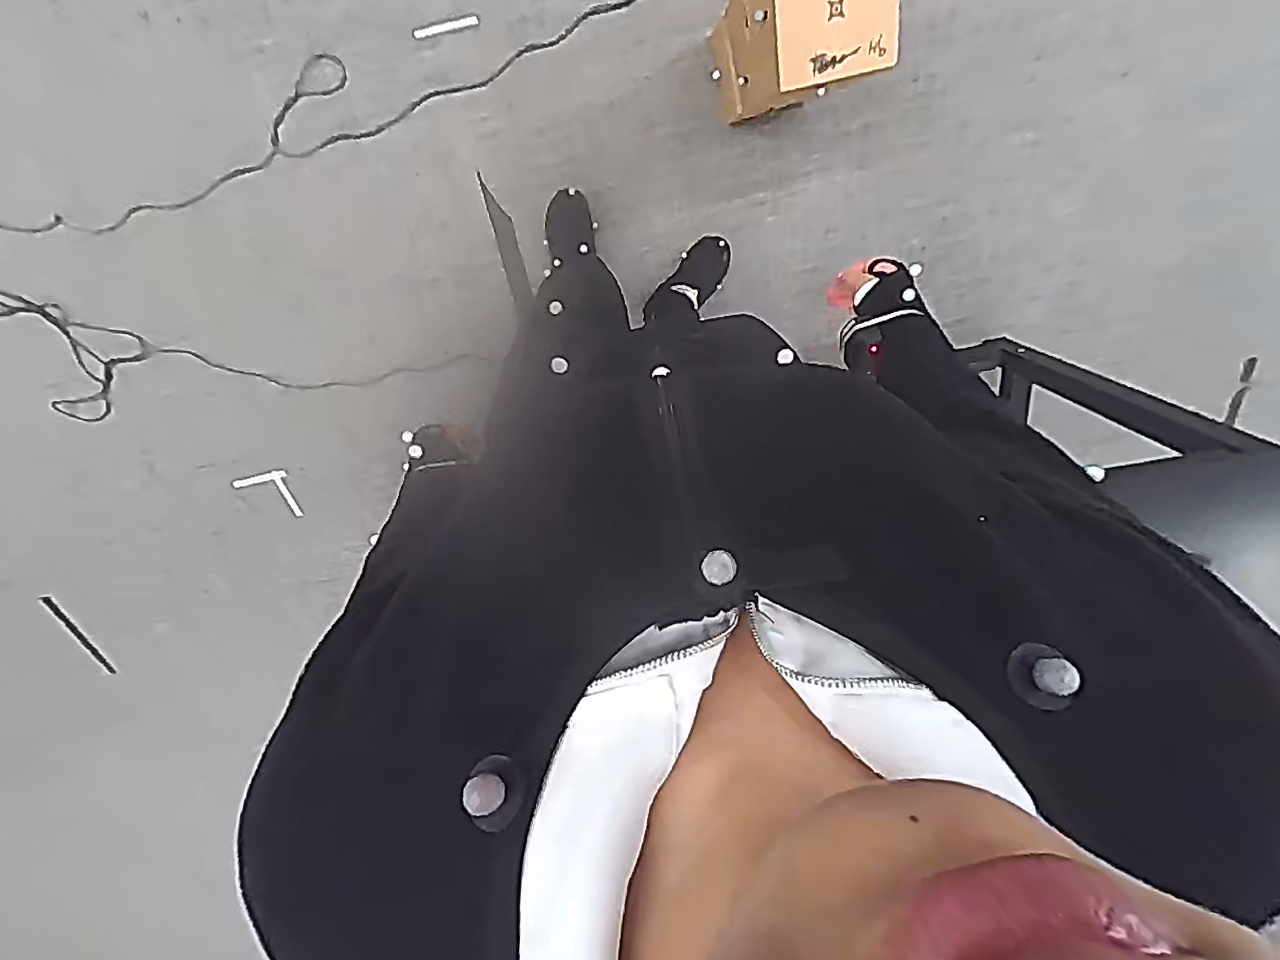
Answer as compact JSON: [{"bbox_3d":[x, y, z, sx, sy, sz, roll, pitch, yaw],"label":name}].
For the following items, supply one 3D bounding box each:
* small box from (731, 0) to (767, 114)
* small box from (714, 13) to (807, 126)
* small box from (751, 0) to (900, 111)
[{"bbox_3d":[0.263,-0.762,0.935,0.179,0.176,0.168,-17,117,7],"label":"small box"},{"bbox_3d":[0.256,-0.832,1.080,0.179,0.176,0.168,-13,116,7],"label":"small box"},{"bbox_3d":[0.264,-0.674,0.795,0.168,0.176,0.179,-10,116,5],"label":"small box"}]
